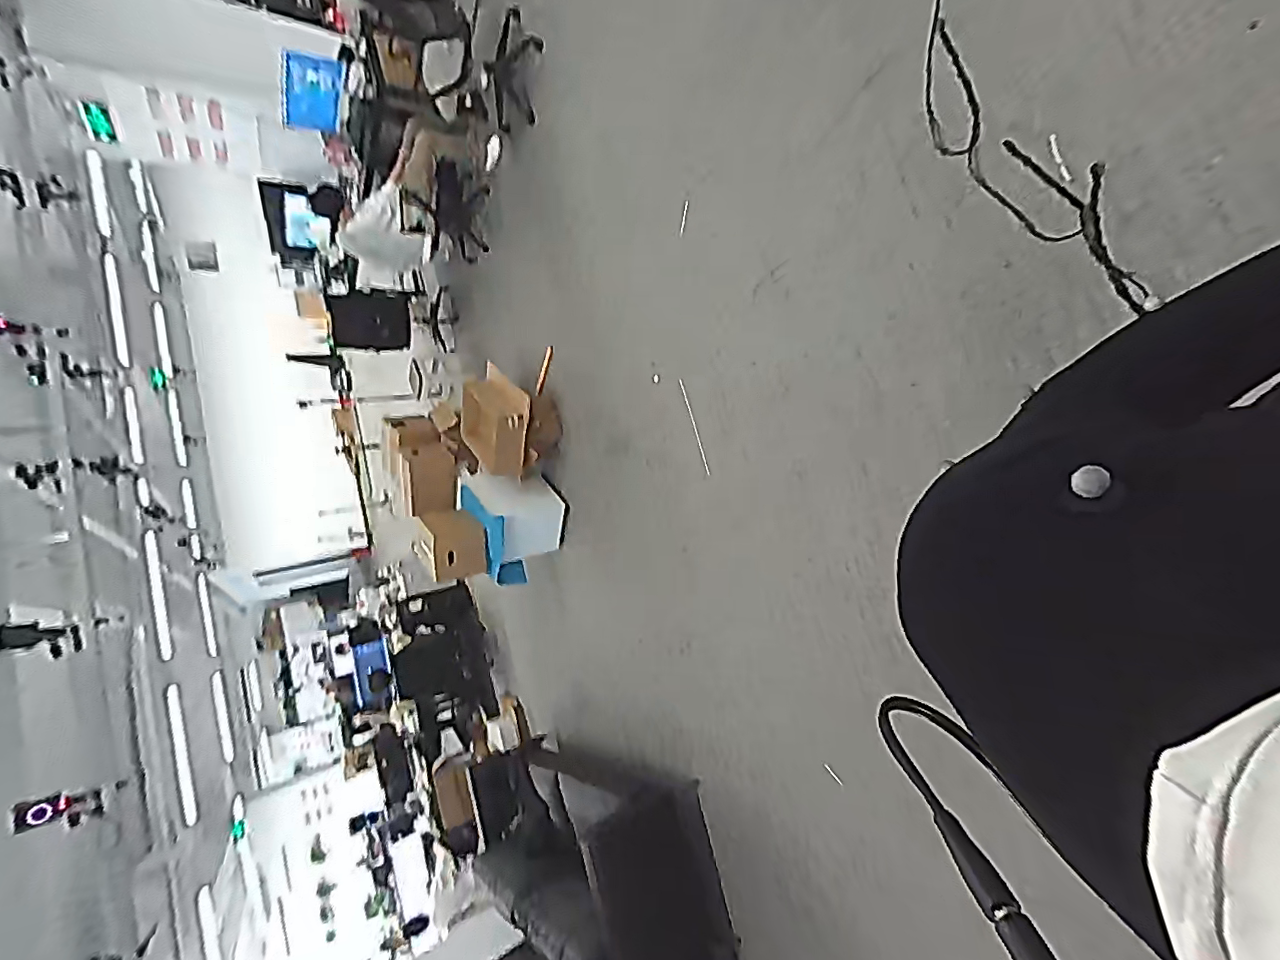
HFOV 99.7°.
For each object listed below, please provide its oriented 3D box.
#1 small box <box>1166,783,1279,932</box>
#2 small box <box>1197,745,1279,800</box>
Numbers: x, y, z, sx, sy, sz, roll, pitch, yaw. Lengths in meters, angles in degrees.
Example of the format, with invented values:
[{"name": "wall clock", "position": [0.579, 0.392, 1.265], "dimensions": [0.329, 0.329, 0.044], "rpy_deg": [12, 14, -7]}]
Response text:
[{"name": "small box", "position": [1.168, 0.716, 1.039], "dimensions": [0.179, 0.176, 0.168], "rpy_deg": [-15, 86, 56]}, {"name": "small box", "position": [1.305, 0.683, 1.122], "dimensions": [0.168, 0.176, 0.179], "rpy_deg": [-12, 88, 57]}]
